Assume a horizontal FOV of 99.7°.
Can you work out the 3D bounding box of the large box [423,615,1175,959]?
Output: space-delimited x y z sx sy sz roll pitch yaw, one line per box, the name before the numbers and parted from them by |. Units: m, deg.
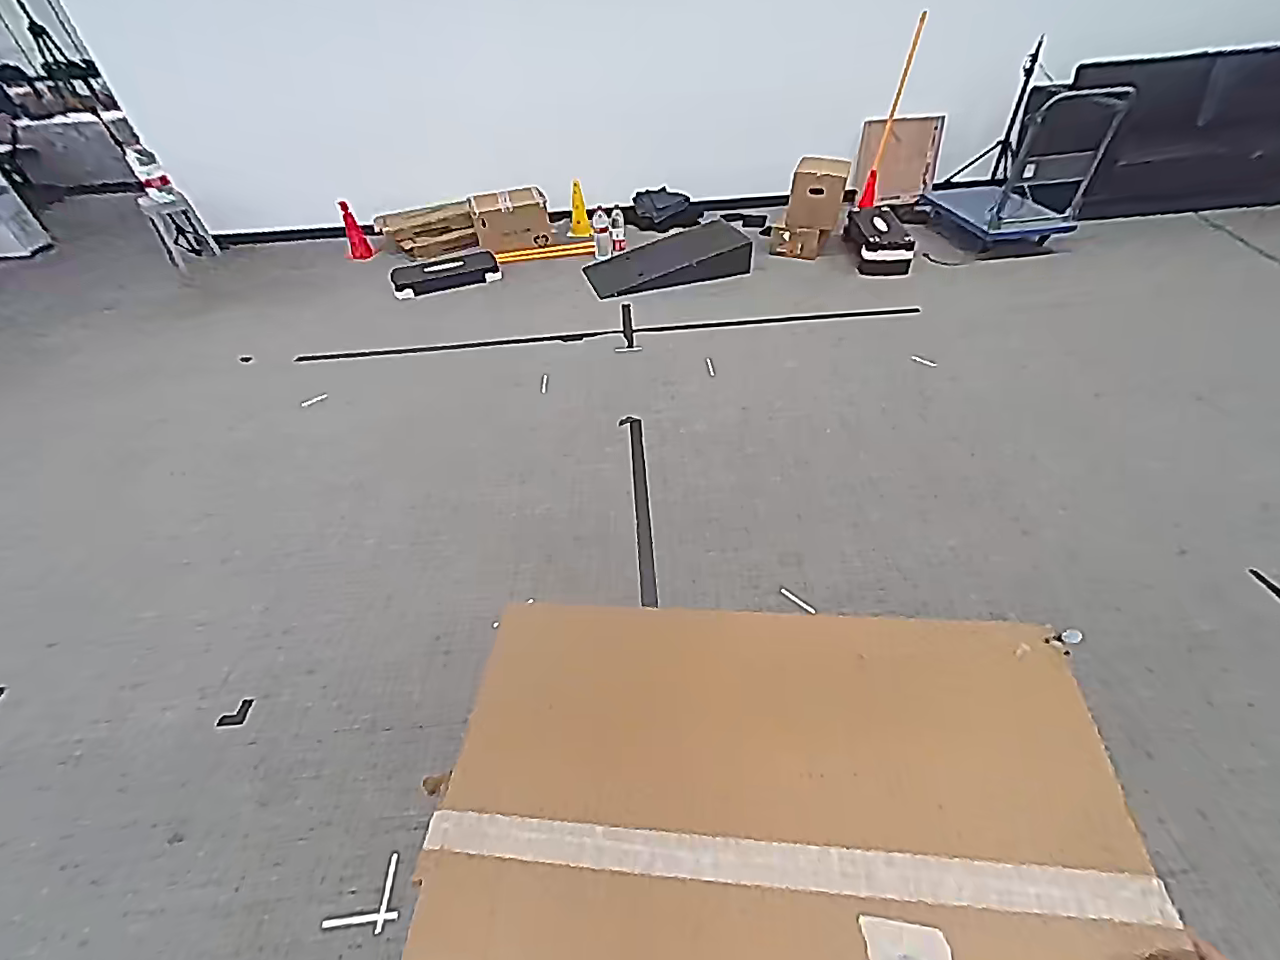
large box | 0.091 0.322 0.430 0.408 0.320 0.320 0 50 7
